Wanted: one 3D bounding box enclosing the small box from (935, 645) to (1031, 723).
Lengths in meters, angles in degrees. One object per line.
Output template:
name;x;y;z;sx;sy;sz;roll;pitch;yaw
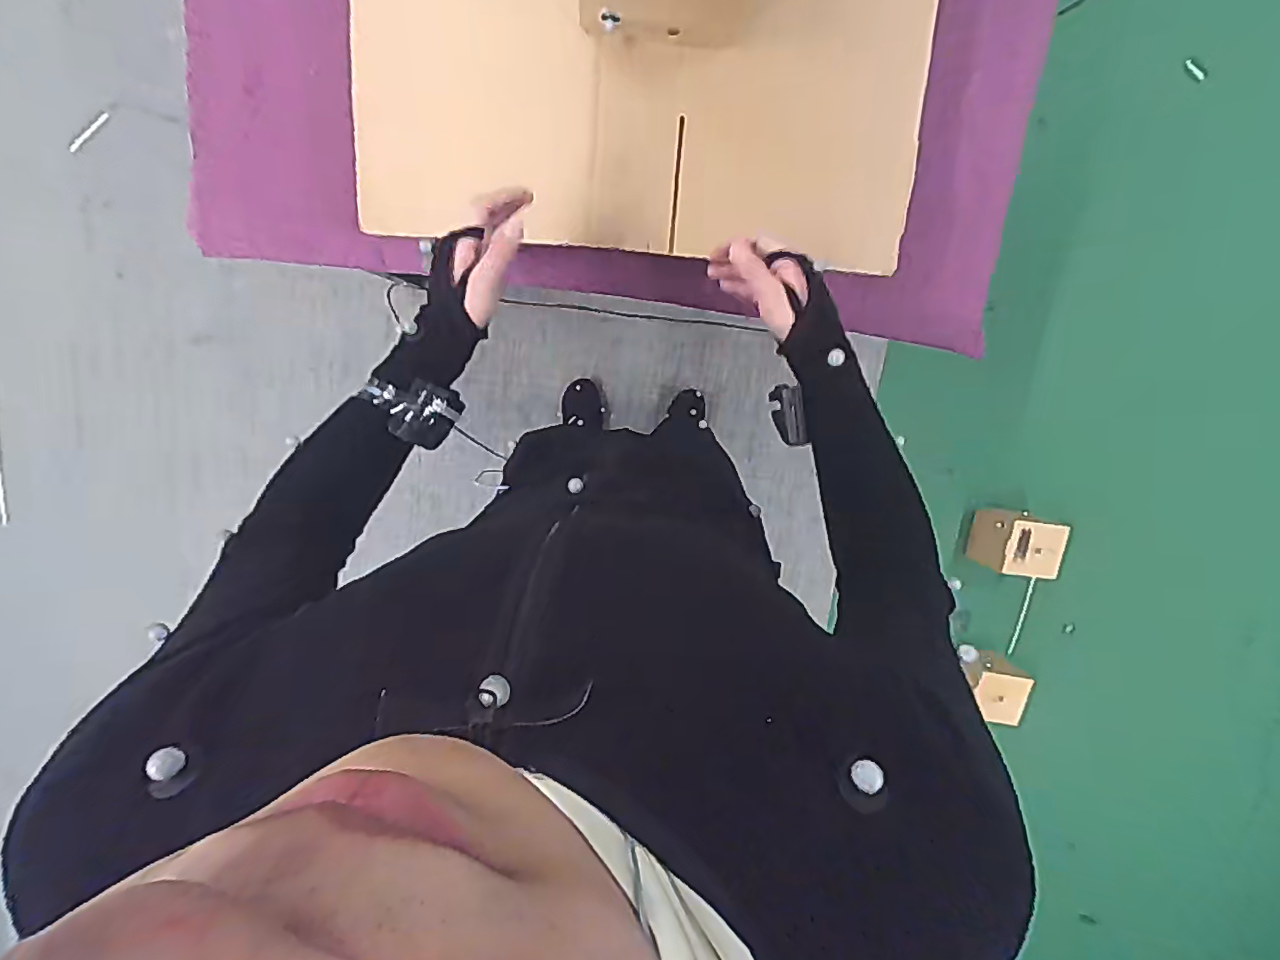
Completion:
small box;1.104;0.655;1.753;0.179;0.176;0.168;10;102;-4
